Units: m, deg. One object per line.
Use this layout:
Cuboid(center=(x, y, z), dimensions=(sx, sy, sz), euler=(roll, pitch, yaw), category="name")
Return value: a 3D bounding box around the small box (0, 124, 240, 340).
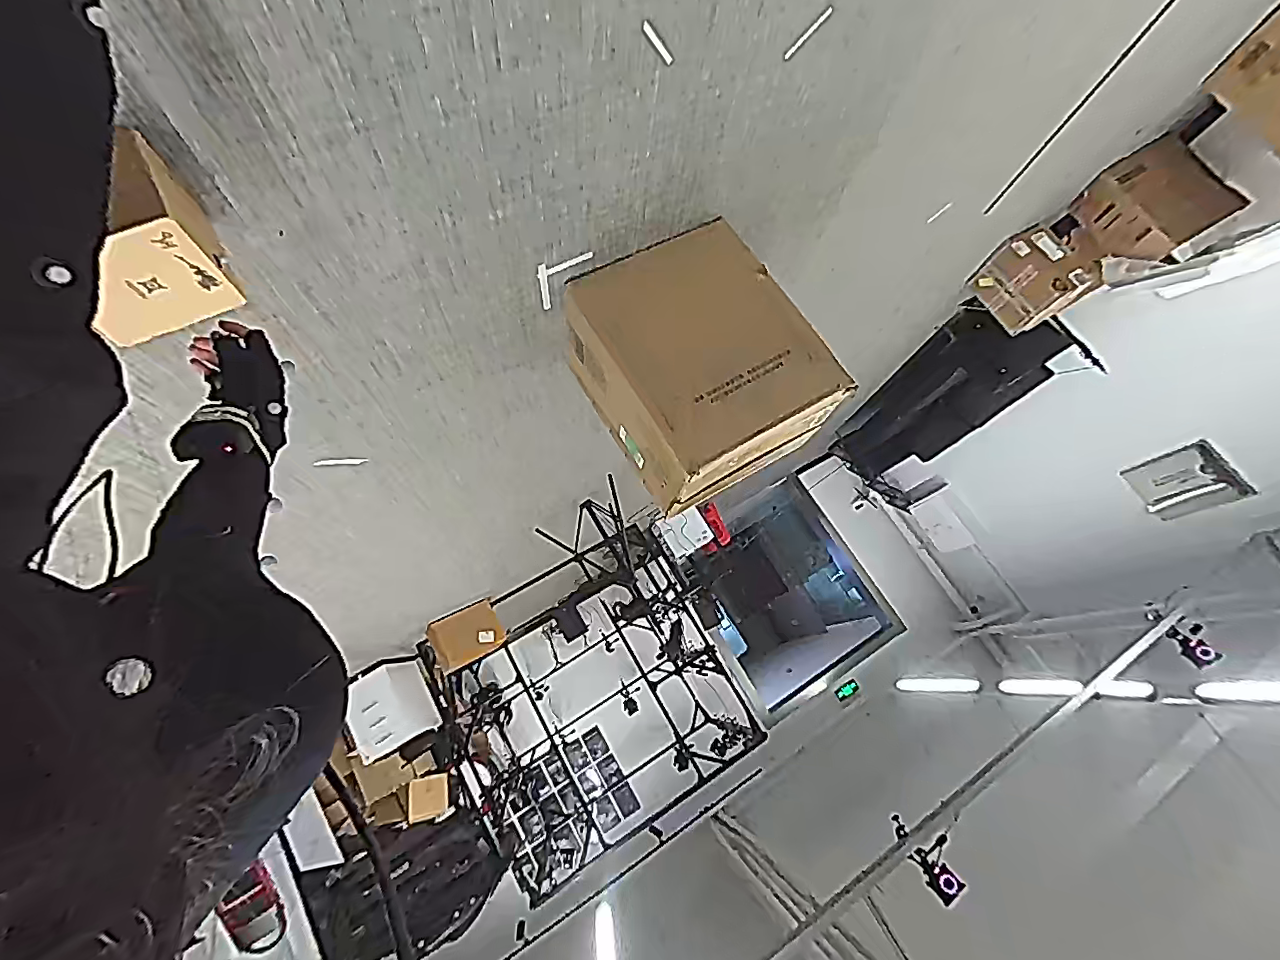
Cuboid(center=(-0.690, -0.326, 0.719), dimensions=(0.179, 0.176, 0.168), euler=(-27, 166, -15), category="small box")
